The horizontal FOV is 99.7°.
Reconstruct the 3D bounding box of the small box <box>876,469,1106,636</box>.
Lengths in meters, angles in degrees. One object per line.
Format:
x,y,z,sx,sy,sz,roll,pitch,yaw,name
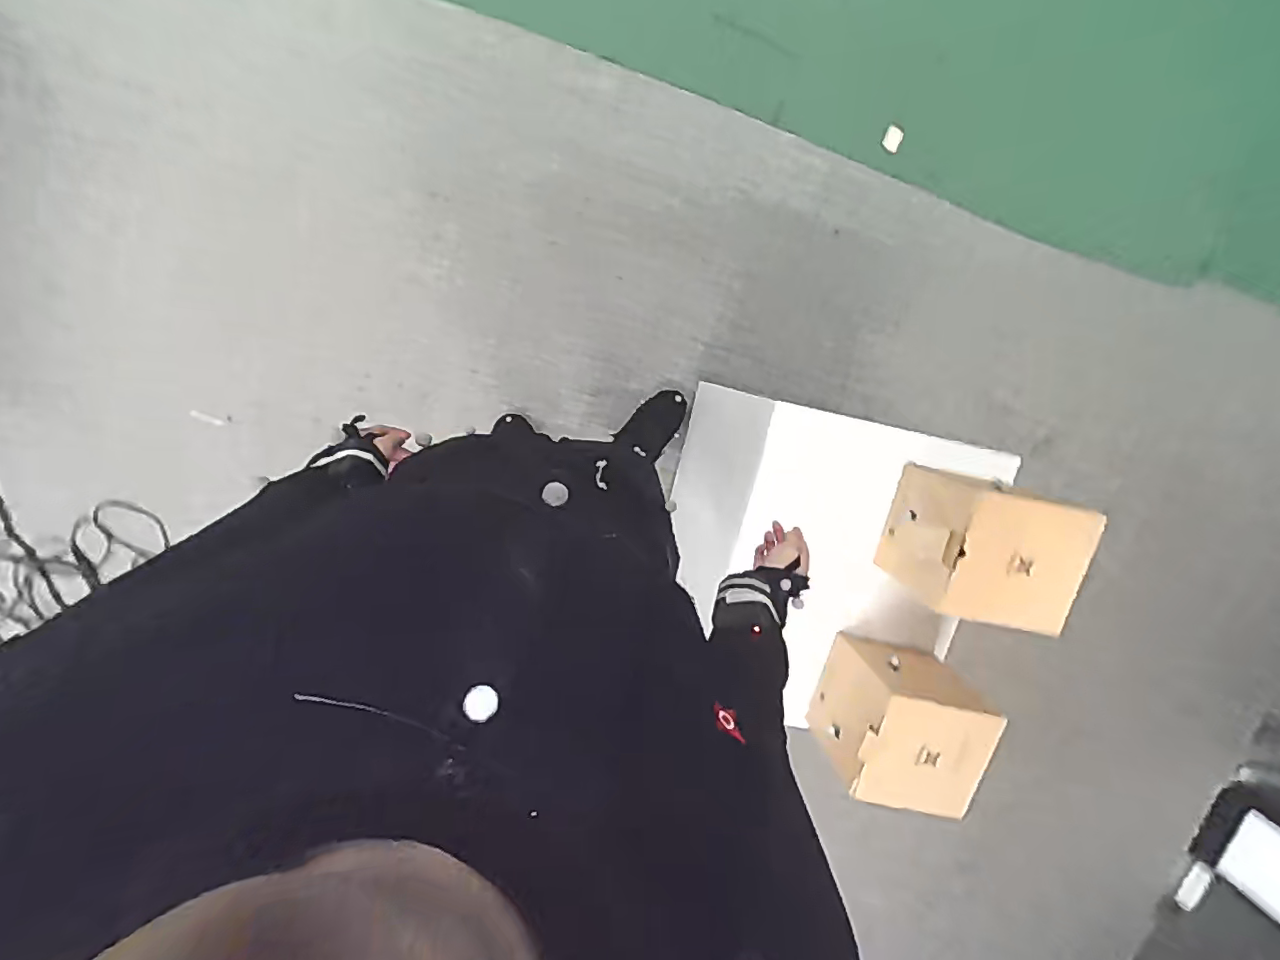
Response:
0.467,0.091,0.750,0.179,0.176,0.168,11,103,-7,small box

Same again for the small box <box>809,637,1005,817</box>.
0.379,0.356,0.805,0.179,0.176,0.168,14,102,-9,small box
